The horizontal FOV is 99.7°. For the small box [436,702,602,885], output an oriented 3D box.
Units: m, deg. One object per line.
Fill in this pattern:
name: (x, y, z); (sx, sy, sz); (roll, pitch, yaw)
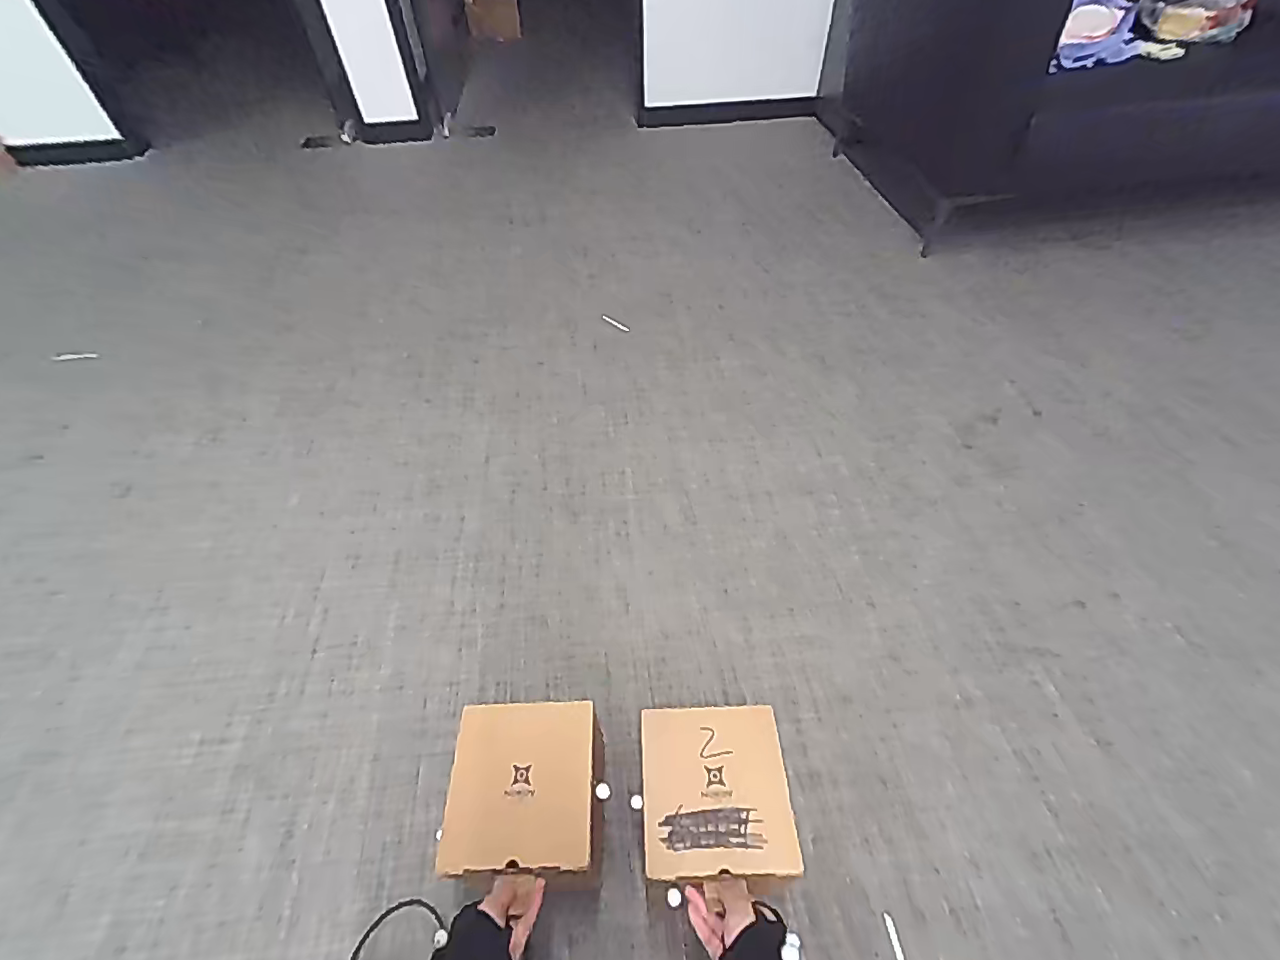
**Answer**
small box: (-0.138, 0.401, 0.691); (0.168, 0.176, 0.179); (-2, 50, 0)
